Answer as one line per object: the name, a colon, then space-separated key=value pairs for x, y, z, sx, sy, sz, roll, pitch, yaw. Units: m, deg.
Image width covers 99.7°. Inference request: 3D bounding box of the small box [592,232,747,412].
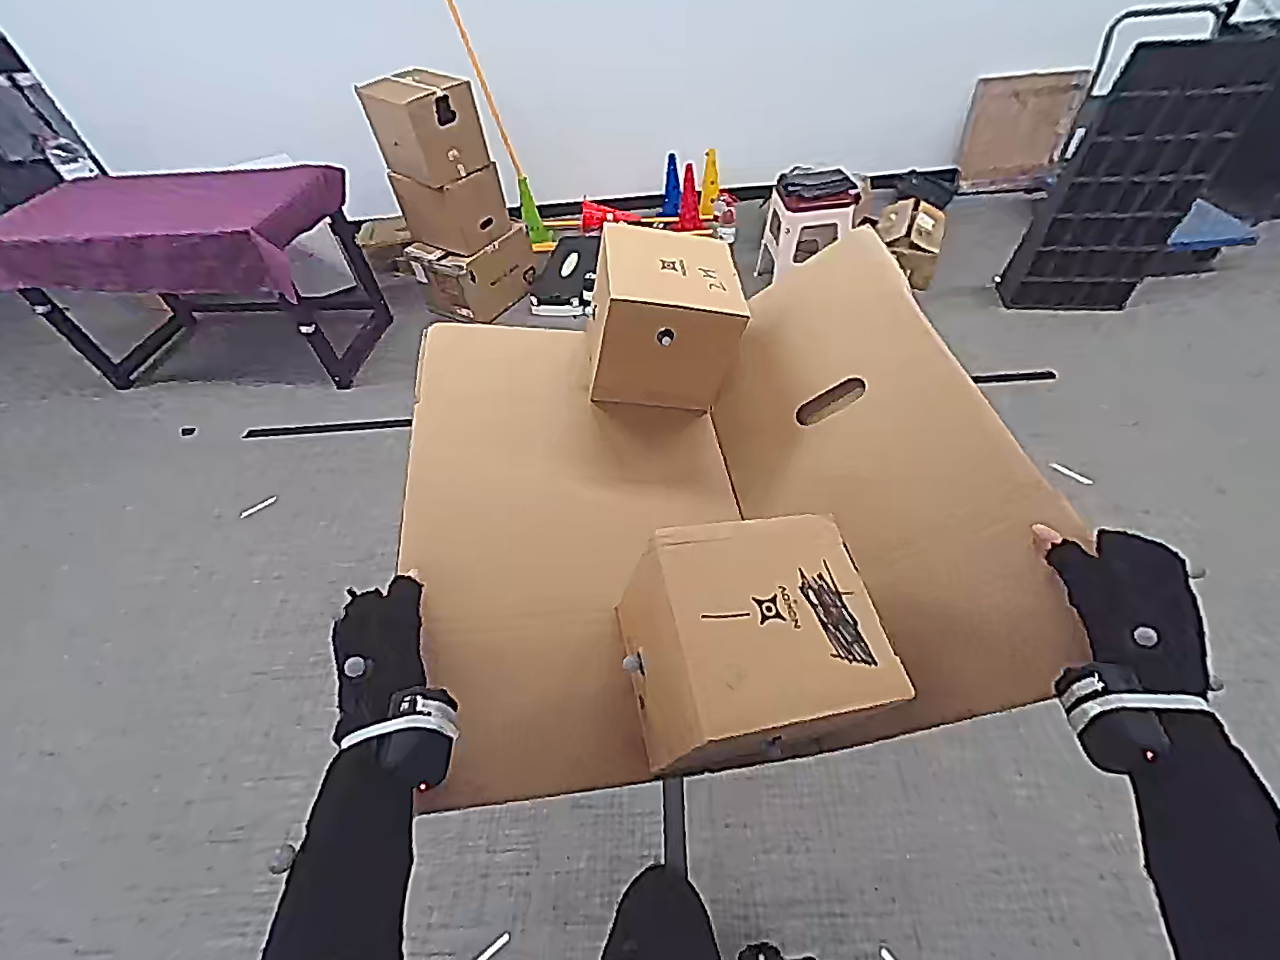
small box: x=0.027 y=-0.211 z=0.749 sx=0.179 sy=0.176 sz=0.168 roll=4 pitch=53 yaw=-12
